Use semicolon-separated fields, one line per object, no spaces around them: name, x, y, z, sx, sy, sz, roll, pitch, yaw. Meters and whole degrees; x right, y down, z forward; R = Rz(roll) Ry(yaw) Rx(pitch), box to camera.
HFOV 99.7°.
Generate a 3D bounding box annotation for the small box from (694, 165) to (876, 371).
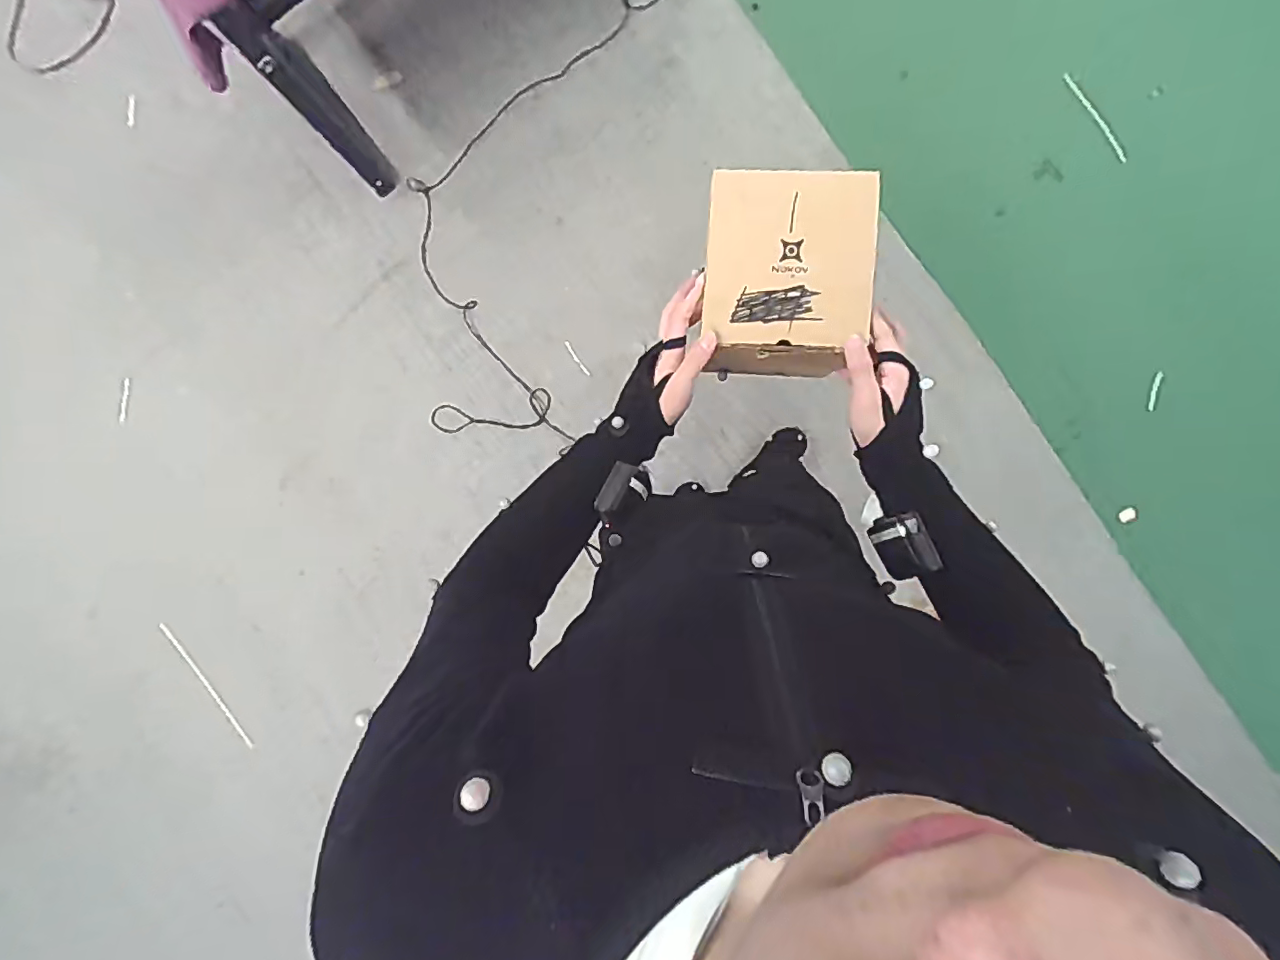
small box;0.148;-0.223;0.611;0.168;0.176;0.179;3;92;4
